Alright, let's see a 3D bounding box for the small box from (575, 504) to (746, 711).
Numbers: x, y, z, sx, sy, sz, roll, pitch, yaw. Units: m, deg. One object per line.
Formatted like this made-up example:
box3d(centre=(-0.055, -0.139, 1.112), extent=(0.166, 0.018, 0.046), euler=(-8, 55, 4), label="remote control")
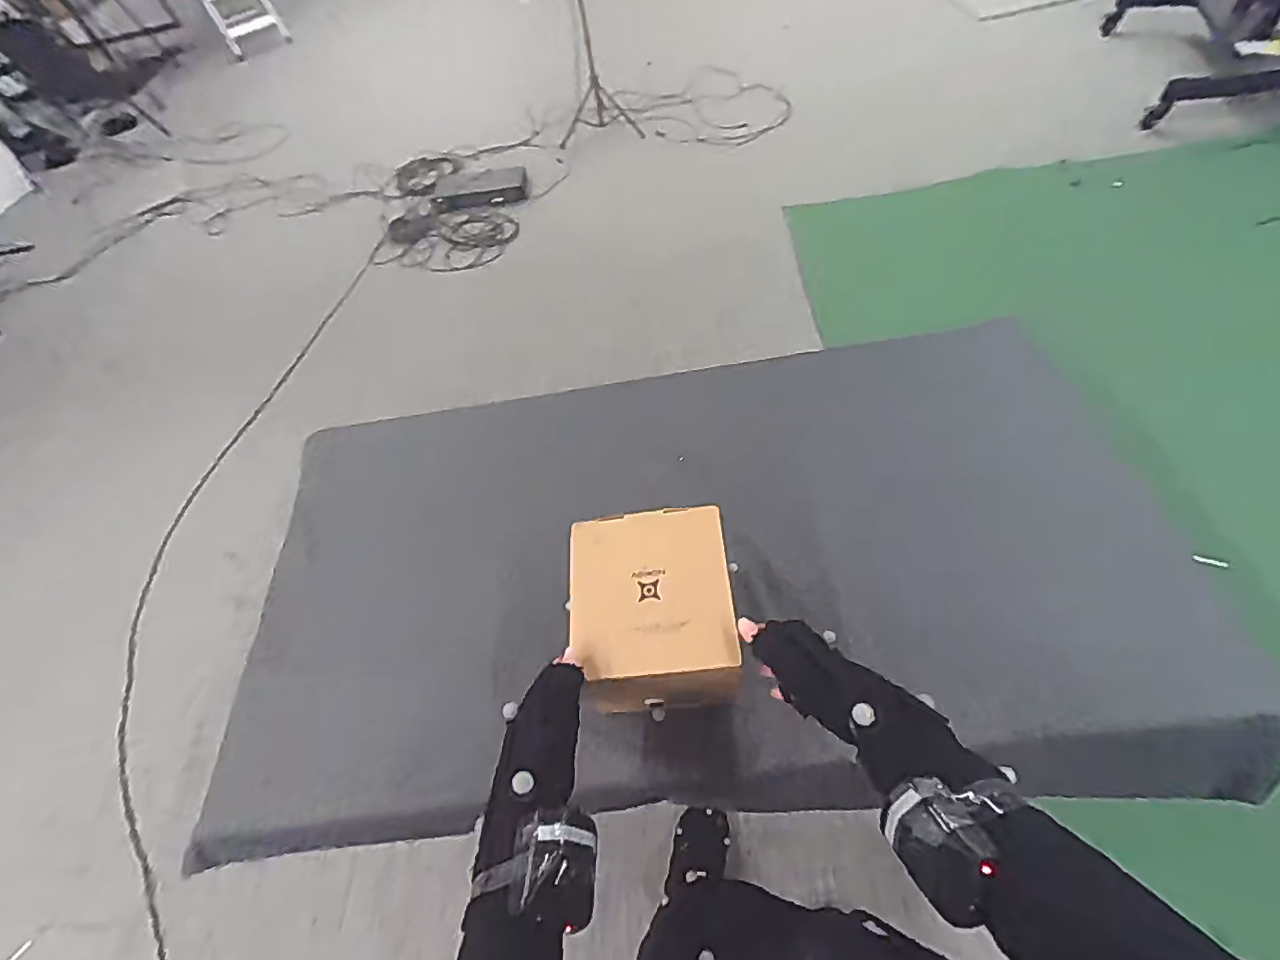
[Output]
box3d(centre=(0.025, 0.151, 0.622), extent=(0.168, 0.176, 0.179), euler=(-9, 57, 5), label="small box")
